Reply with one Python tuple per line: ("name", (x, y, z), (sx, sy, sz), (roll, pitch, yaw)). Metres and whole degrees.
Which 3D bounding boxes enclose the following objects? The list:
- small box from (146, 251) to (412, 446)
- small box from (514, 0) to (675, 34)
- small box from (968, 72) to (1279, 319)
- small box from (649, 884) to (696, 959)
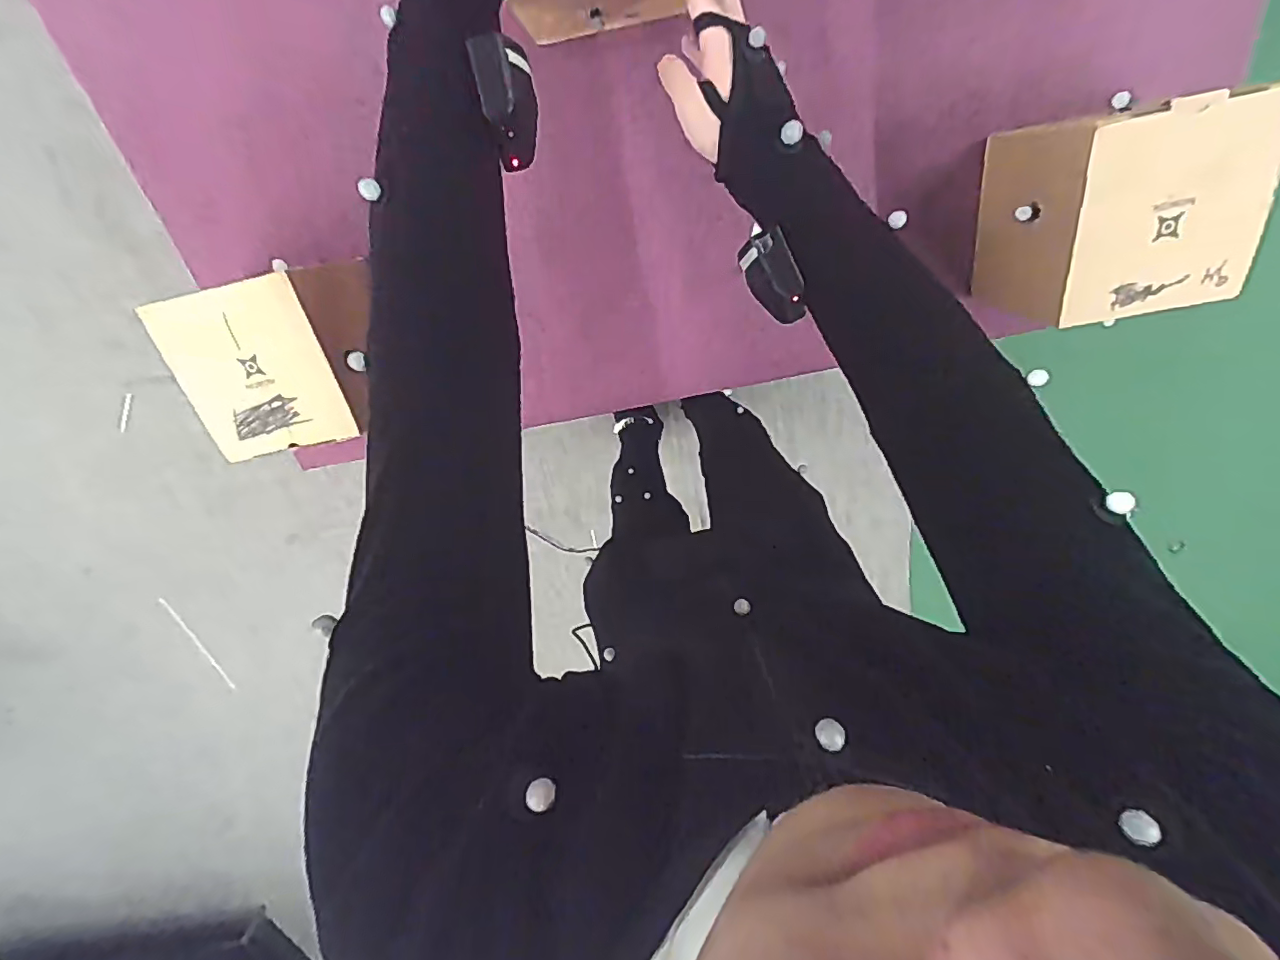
("small box", (-0.407, -0.163, 0.651), (0.168, 0.176, 0.179), (-10, 116, 7))
("small box", (-0.051, -0.512, 0.449), (0.168, 0.176, 0.179), (-8, 120, 6))
("small box", (0.465, -0.282, 0.555), (0.168, 0.176, 0.179), (-8, 119, 8))
("small box", (0.116, 1.625, 1.994), (0.168, 0.176, 0.179), (1, 119, 2))
